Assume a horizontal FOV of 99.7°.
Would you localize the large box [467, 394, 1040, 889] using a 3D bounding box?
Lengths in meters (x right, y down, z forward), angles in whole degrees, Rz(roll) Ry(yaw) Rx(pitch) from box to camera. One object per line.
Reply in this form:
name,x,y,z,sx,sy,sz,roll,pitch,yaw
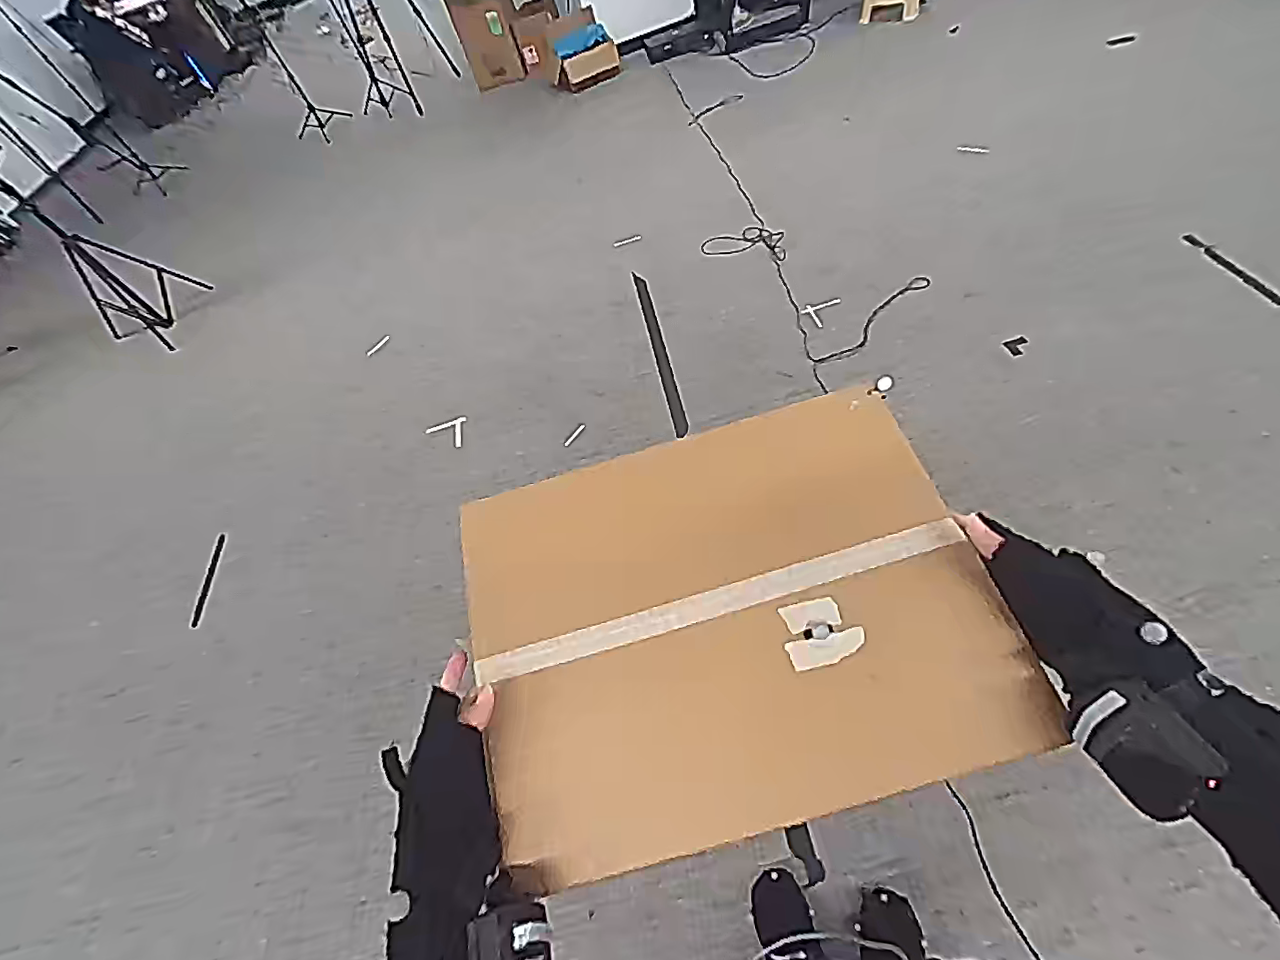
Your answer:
large box,0.080,0.170,0.584,0.408,0.320,0.320,-17,63,0
